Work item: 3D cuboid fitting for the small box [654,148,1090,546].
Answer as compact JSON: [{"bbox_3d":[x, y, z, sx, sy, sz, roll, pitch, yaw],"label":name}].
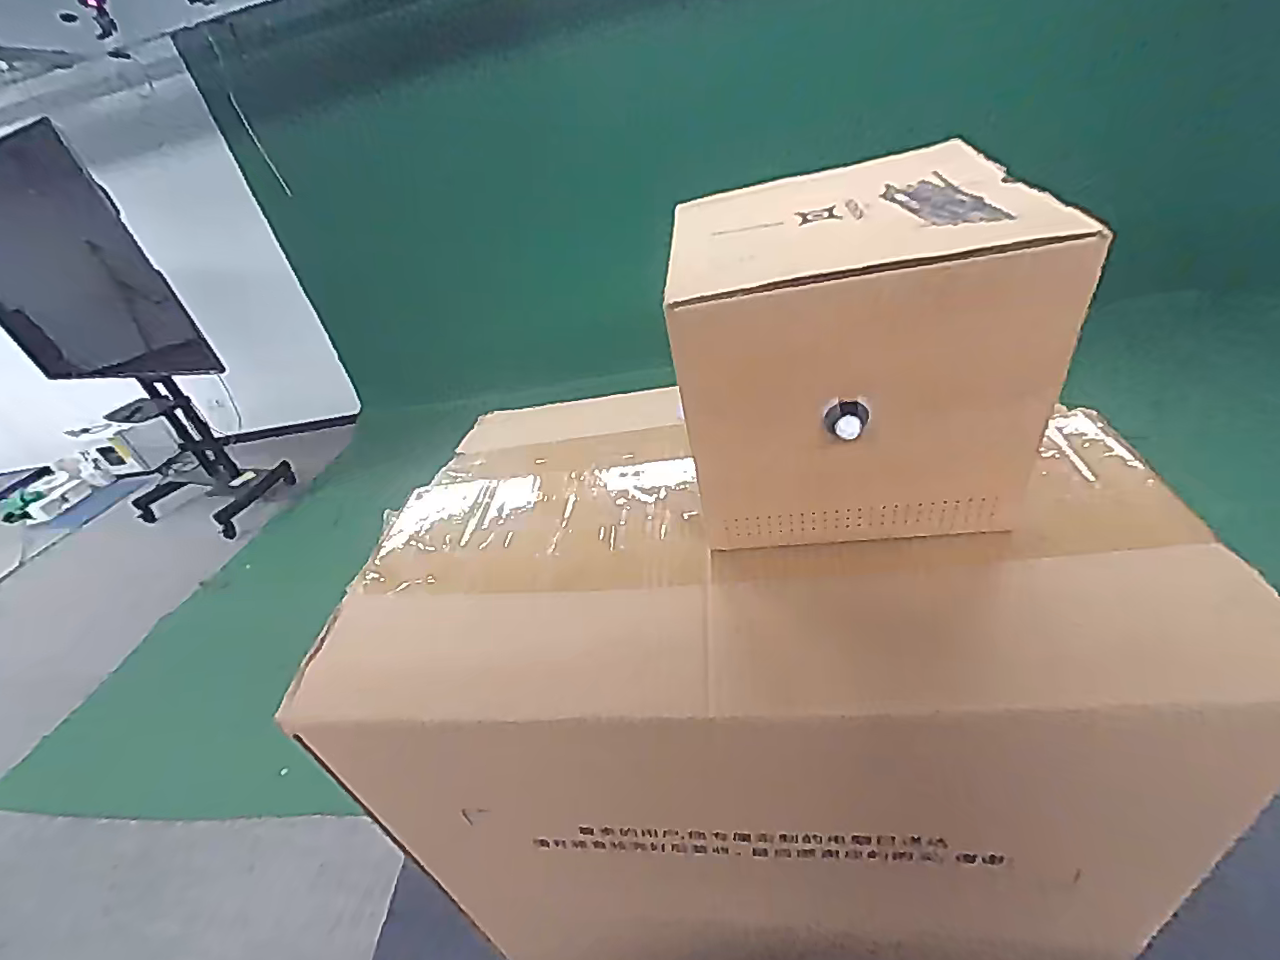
[{"bbox_3d":[0.115,-0.076,0.334,0.179,0.176,0.168,-6,40,13],"label":"small box"}]
